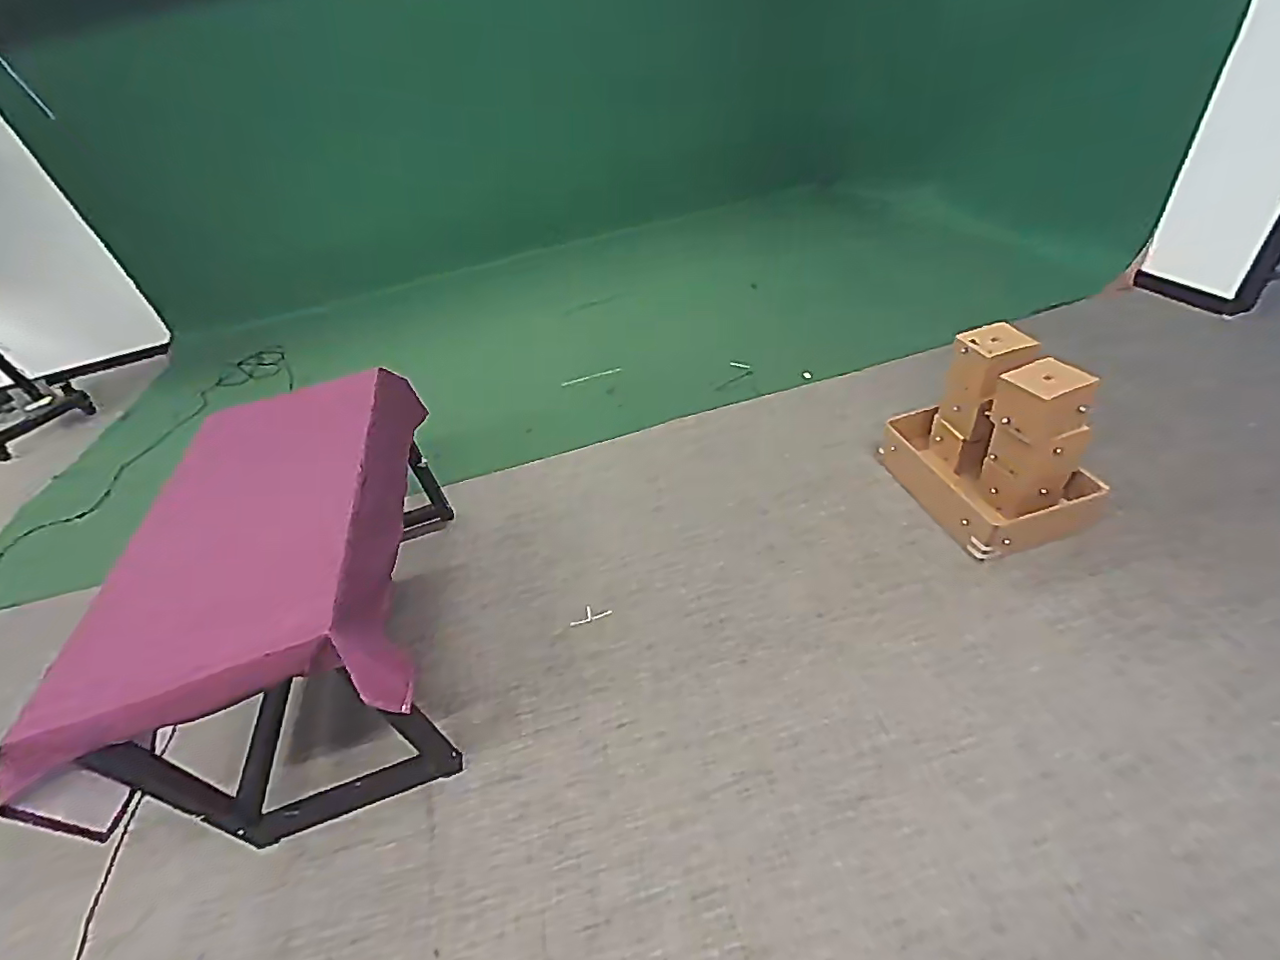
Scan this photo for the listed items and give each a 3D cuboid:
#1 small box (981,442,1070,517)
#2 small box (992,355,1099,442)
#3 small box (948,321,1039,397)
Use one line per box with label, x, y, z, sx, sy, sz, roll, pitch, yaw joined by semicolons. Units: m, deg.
small box;1.279;0.001;1.813;0.179;0.176;0.168;-17;40;-3
small box;1.192;-0.240;1.607;0.179;0.176;0.168;-21;40;-5
small box;1.165;-0.401;1.798;0.179;0.176;0.168;-16;40;-2
